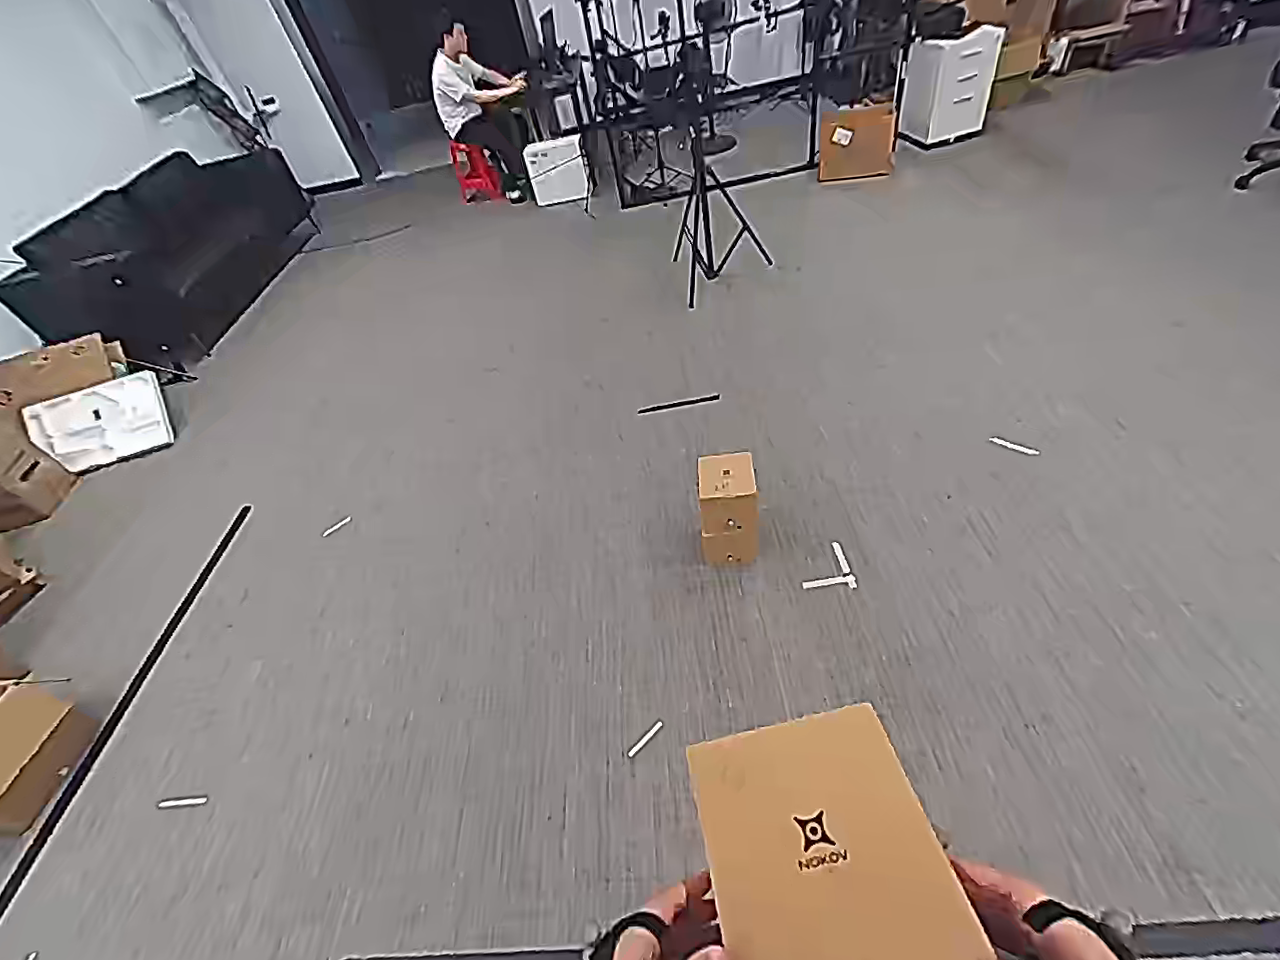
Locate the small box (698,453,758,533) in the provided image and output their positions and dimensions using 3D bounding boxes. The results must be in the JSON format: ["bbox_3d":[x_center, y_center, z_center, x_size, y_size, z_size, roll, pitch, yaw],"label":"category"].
[{"bbox_3d":[0.270,0.040,1.659,0.168,0.176,0.179,-6,46,10],"label":"small box"}]
